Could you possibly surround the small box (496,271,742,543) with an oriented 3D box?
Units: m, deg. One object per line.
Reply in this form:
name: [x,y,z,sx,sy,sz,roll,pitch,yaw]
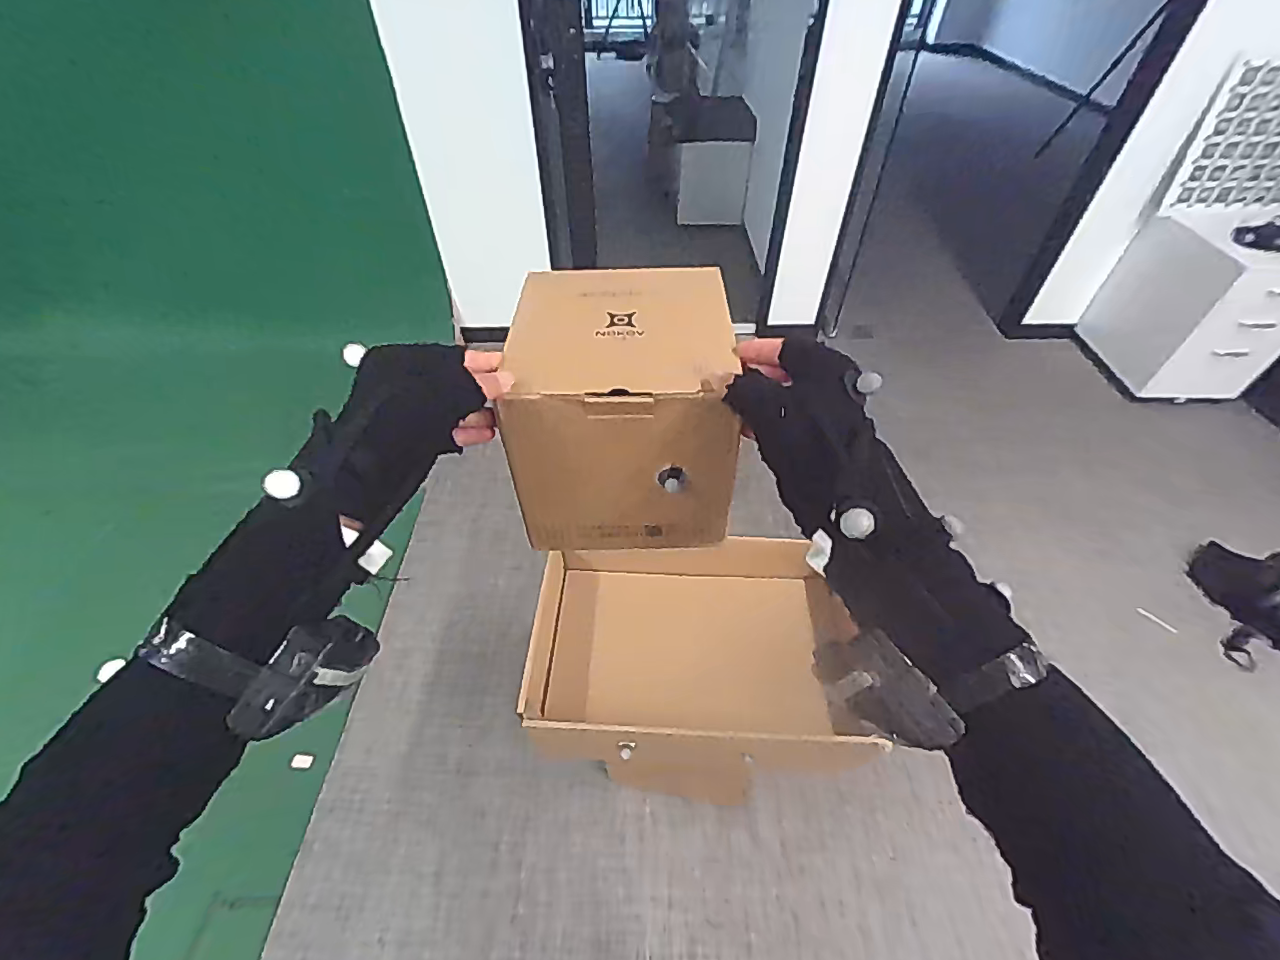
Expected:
small box: [-0.012,-0.058,0.464,0.168,0.176,0.179,-1,45,0]
